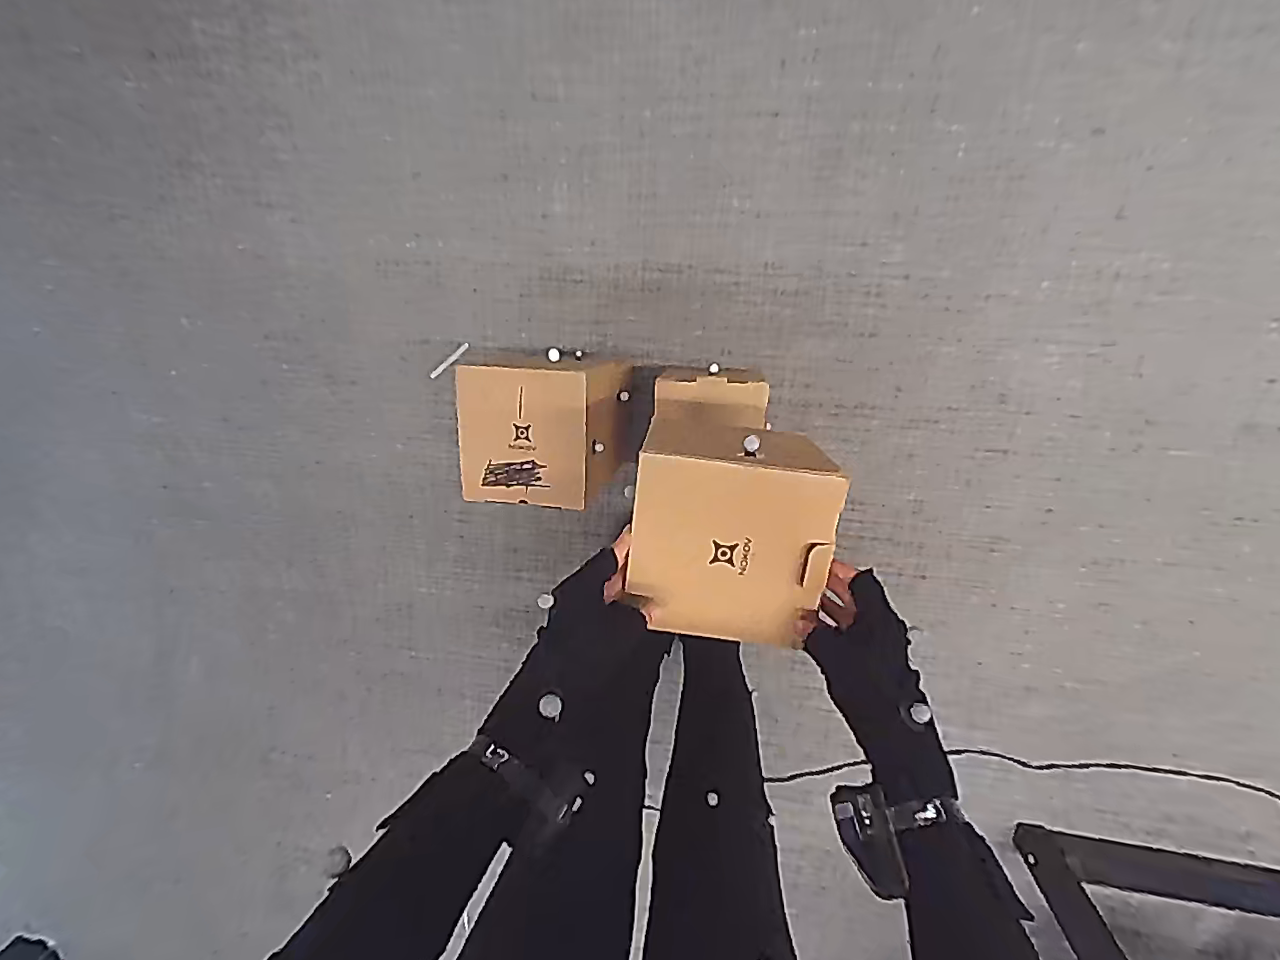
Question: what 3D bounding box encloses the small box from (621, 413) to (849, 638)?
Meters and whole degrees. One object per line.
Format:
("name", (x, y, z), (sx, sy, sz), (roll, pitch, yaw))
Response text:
("small box", (0.083, 0.032, 0.546), (0.179, 0.176, 0.168), (7, 108, 2))
